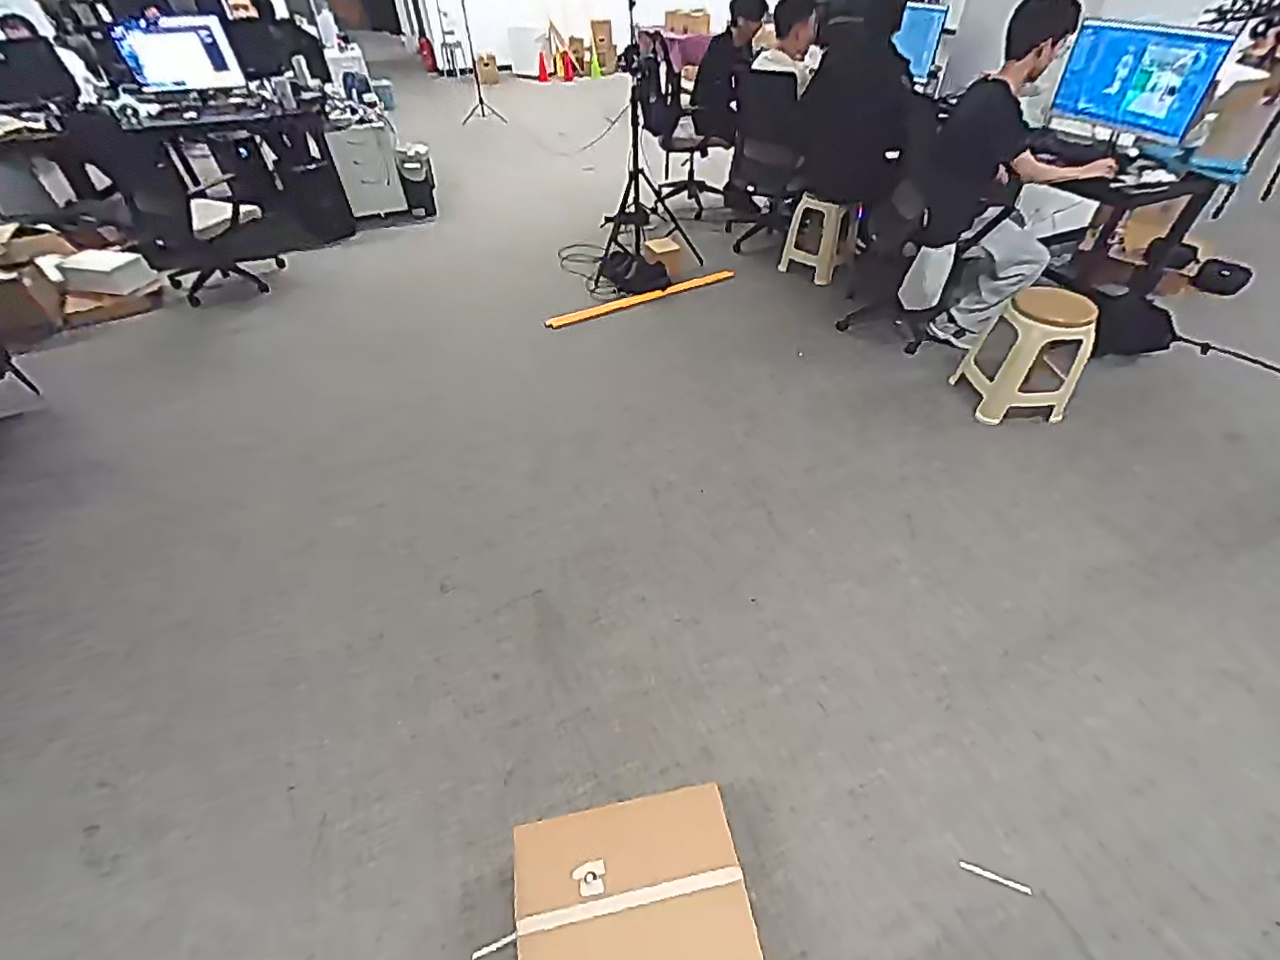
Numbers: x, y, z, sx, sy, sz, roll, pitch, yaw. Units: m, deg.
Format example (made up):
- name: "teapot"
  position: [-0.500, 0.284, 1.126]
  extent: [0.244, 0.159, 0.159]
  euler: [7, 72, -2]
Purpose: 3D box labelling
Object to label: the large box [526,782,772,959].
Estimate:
- name: "large box"
  position: [0.011, 0.853, 1.073]
  extent: [0.408, 0.320, 0.320]
  euler: [-10, 46, -5]
